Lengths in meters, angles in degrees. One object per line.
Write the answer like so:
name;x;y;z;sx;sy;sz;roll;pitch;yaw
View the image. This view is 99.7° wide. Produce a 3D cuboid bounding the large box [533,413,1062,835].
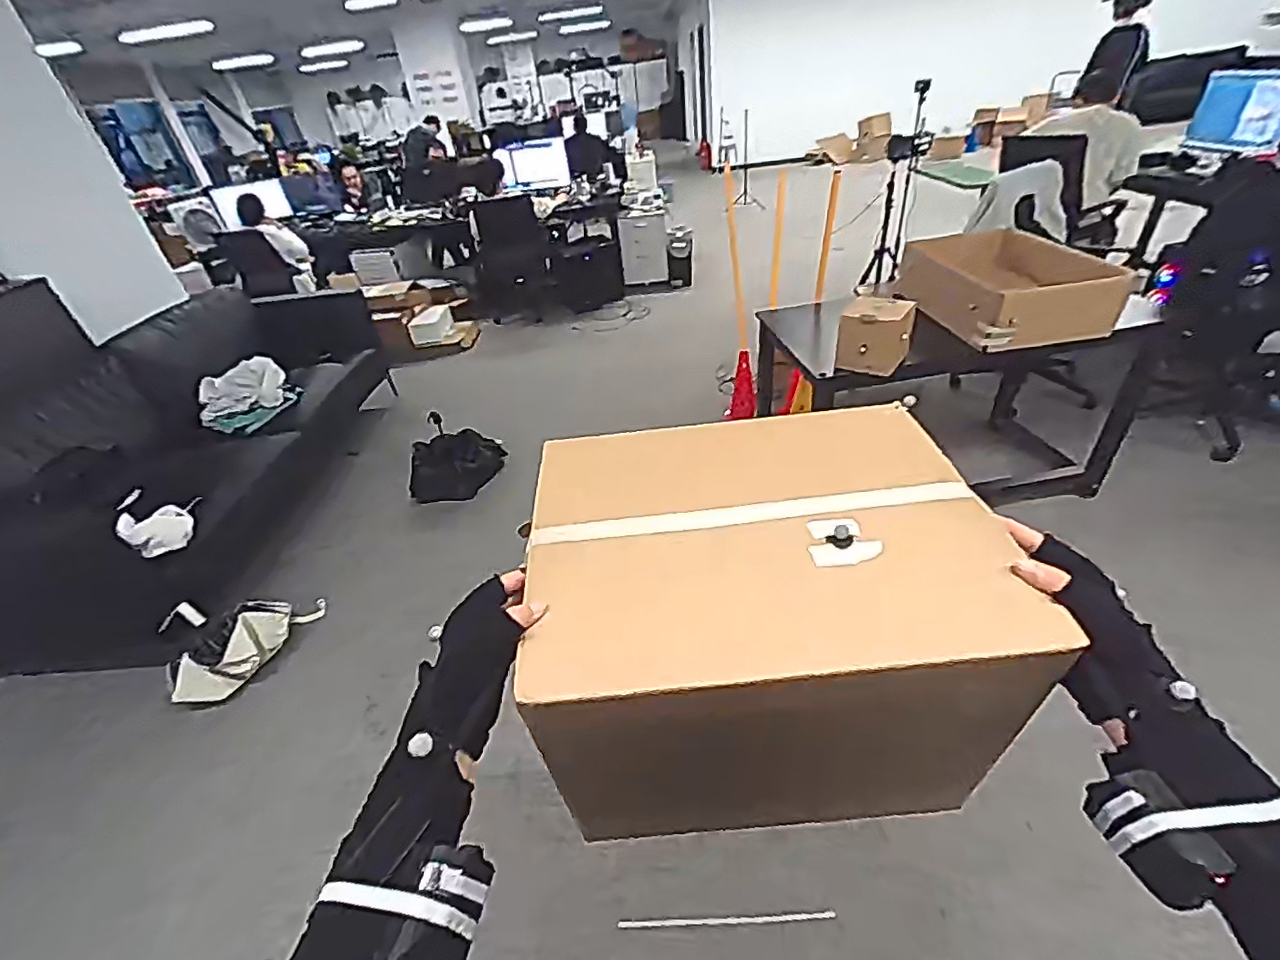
large box;0.116;0.154;0.603;0.408;0.320;0.320;-6;41;0
